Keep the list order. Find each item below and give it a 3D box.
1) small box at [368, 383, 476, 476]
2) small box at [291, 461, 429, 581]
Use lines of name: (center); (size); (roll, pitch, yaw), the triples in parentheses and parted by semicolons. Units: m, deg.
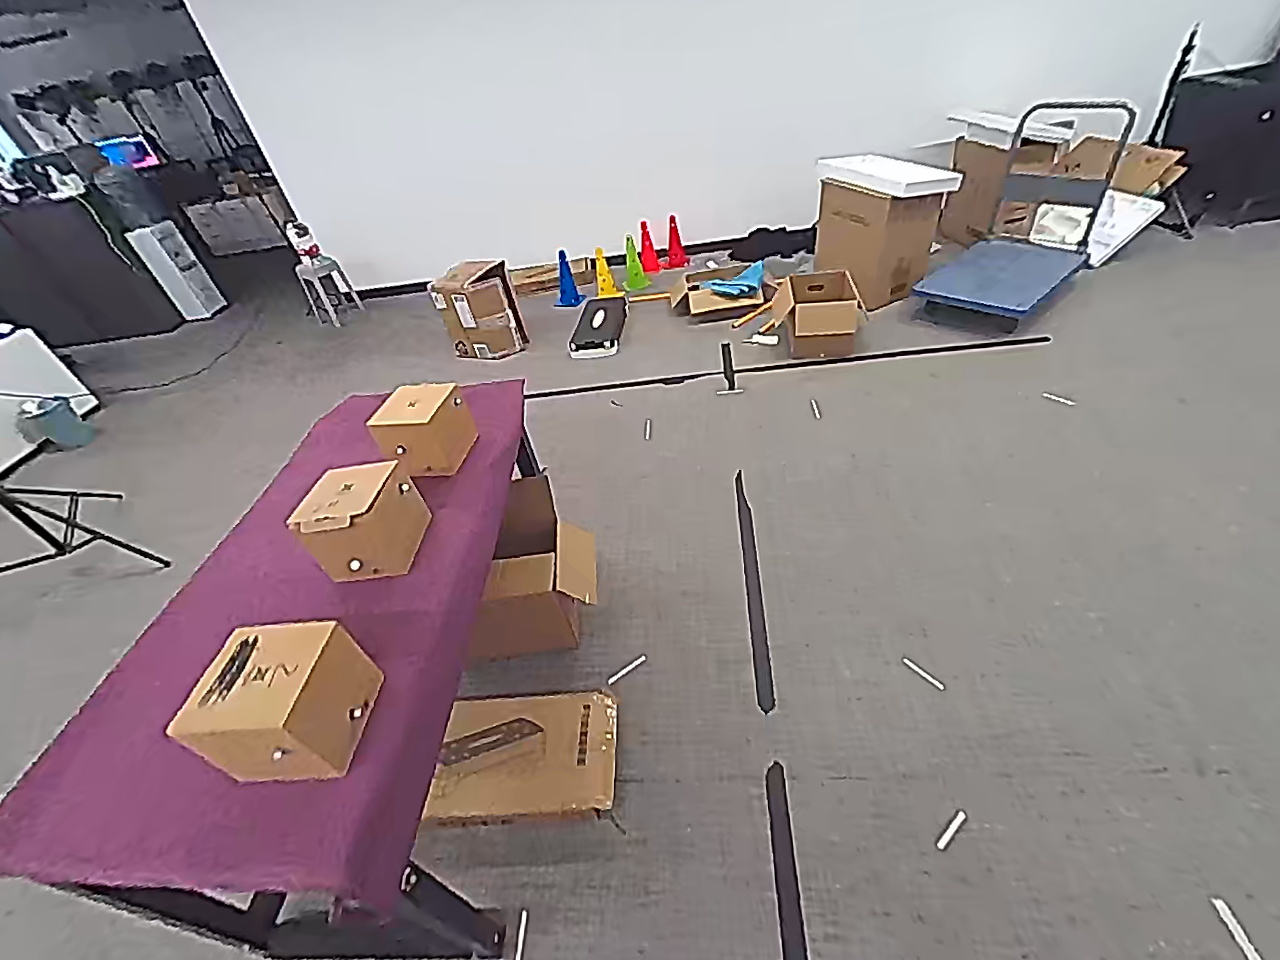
small box: (-0.537, -0.123, 1.363); (0.168, 0.176, 0.179); (-2, 41, 11)
small box: (-0.565, 0.086, 1.124); (0.168, 0.176, 0.179); (-8, 40, 7)
